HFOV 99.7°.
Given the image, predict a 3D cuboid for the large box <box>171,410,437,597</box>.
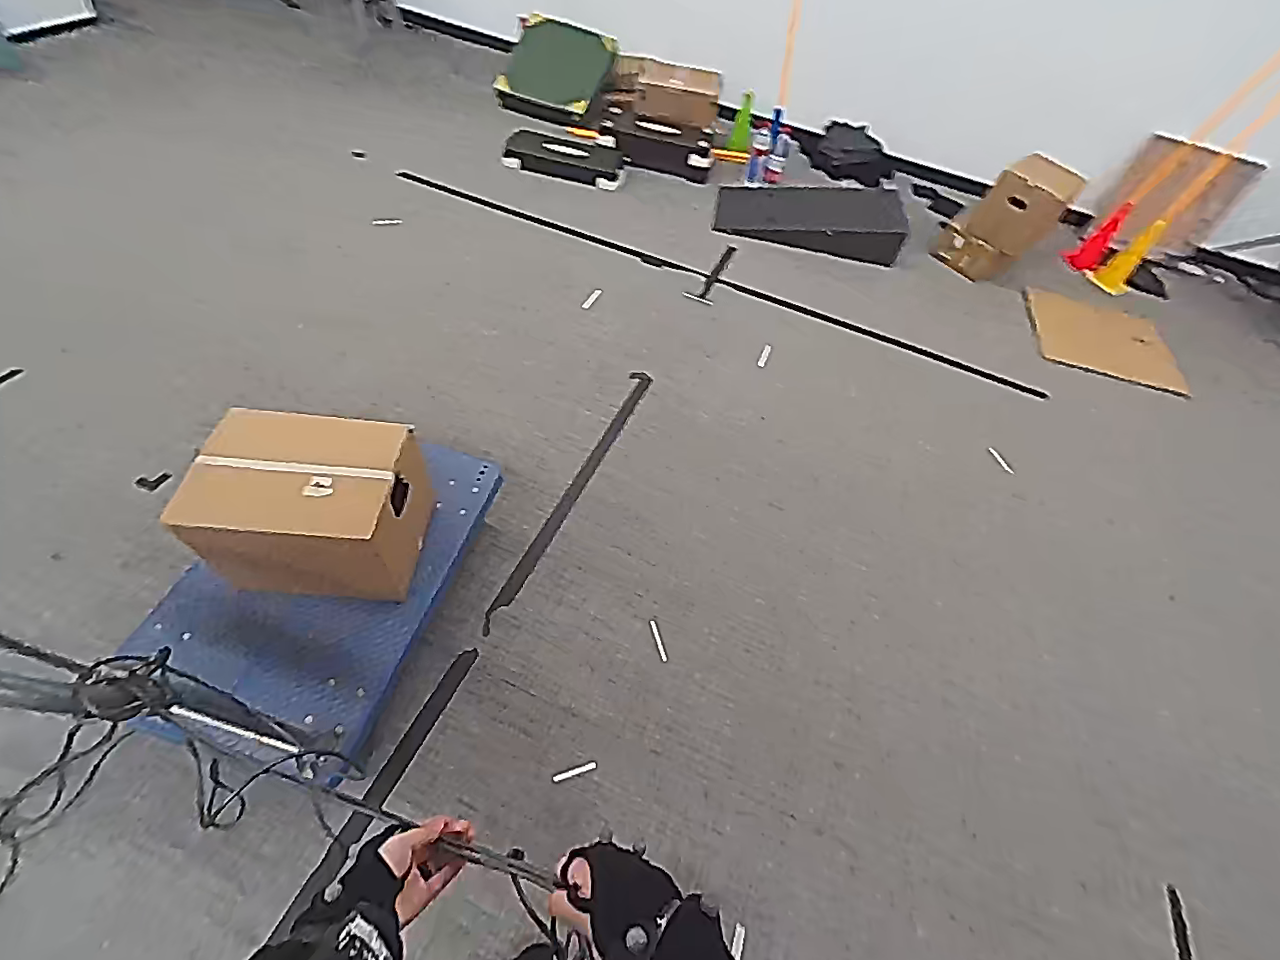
[{"bbox_3d":[-0.744,0.065,1.283,0.408,0.320,0.320,6,54,-5],"label":"large box"}]
